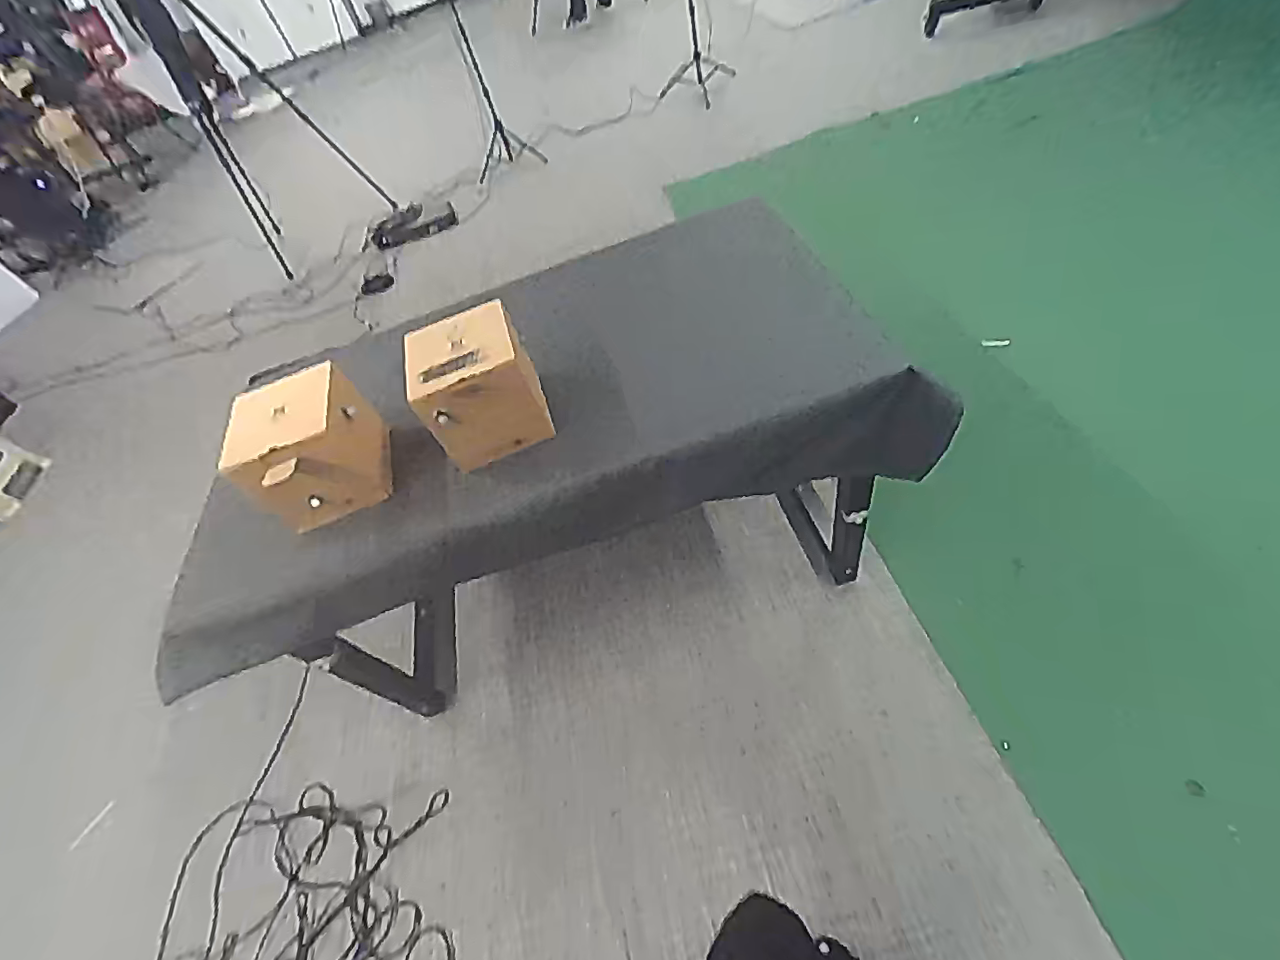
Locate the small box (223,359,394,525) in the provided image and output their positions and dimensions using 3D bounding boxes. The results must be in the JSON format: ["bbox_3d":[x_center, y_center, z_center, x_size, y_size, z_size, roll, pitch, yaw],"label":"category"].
[{"bbox_3d":[-0.522,-0.059,0.880,0.168,0.176,0.179,-22,51,-2],"label":"small box"}]
